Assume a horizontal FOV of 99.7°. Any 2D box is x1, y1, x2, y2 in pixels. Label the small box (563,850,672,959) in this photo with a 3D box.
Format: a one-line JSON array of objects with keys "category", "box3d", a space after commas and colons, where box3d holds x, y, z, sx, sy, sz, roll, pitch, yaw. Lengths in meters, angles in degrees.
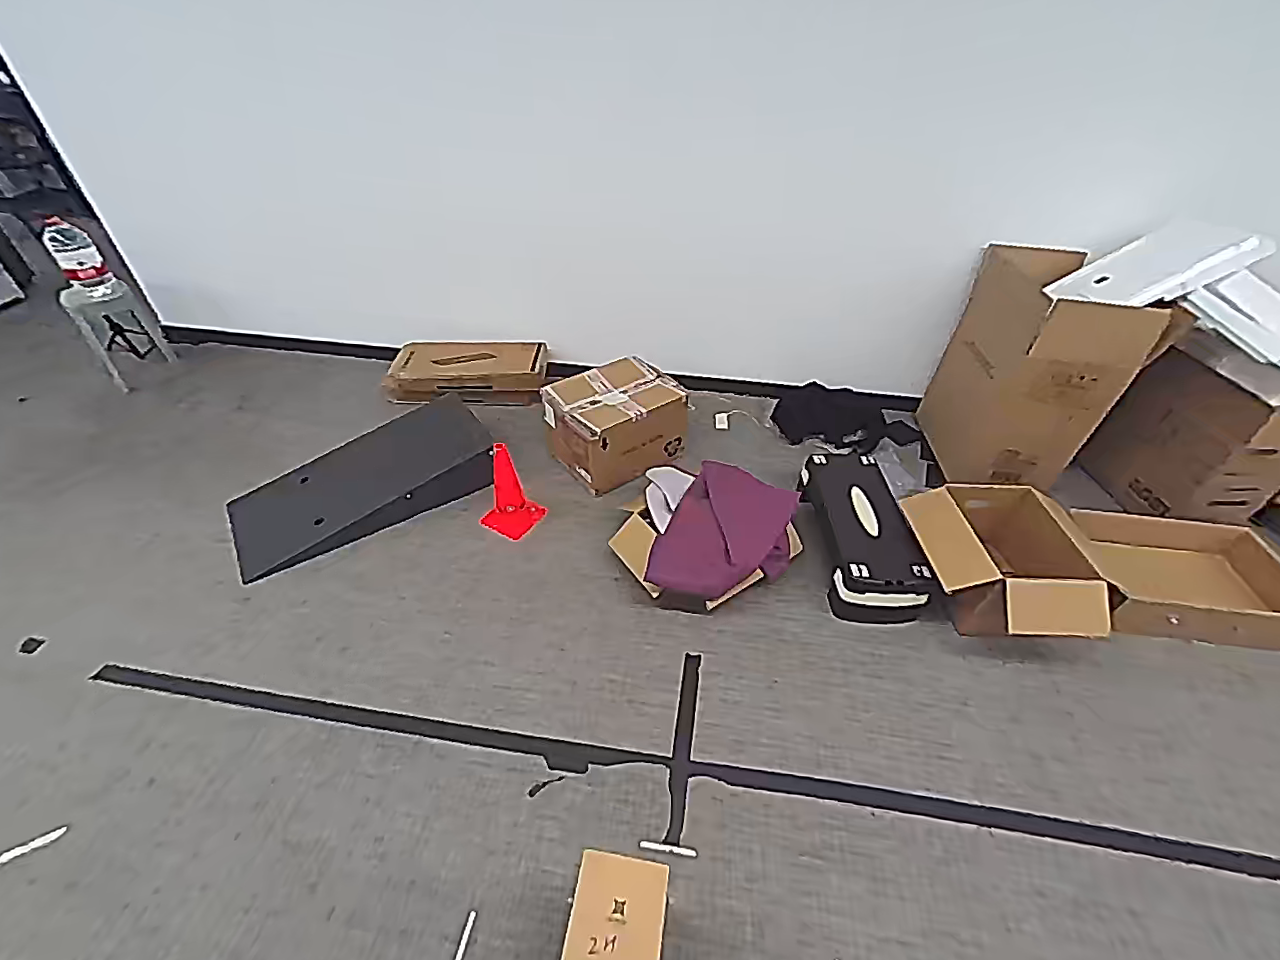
[{"category": "small box", "box3d": [-0.036, 0.826, 1.000, 0.168, 0.176, 0.179, 6, 41, 8]}]
